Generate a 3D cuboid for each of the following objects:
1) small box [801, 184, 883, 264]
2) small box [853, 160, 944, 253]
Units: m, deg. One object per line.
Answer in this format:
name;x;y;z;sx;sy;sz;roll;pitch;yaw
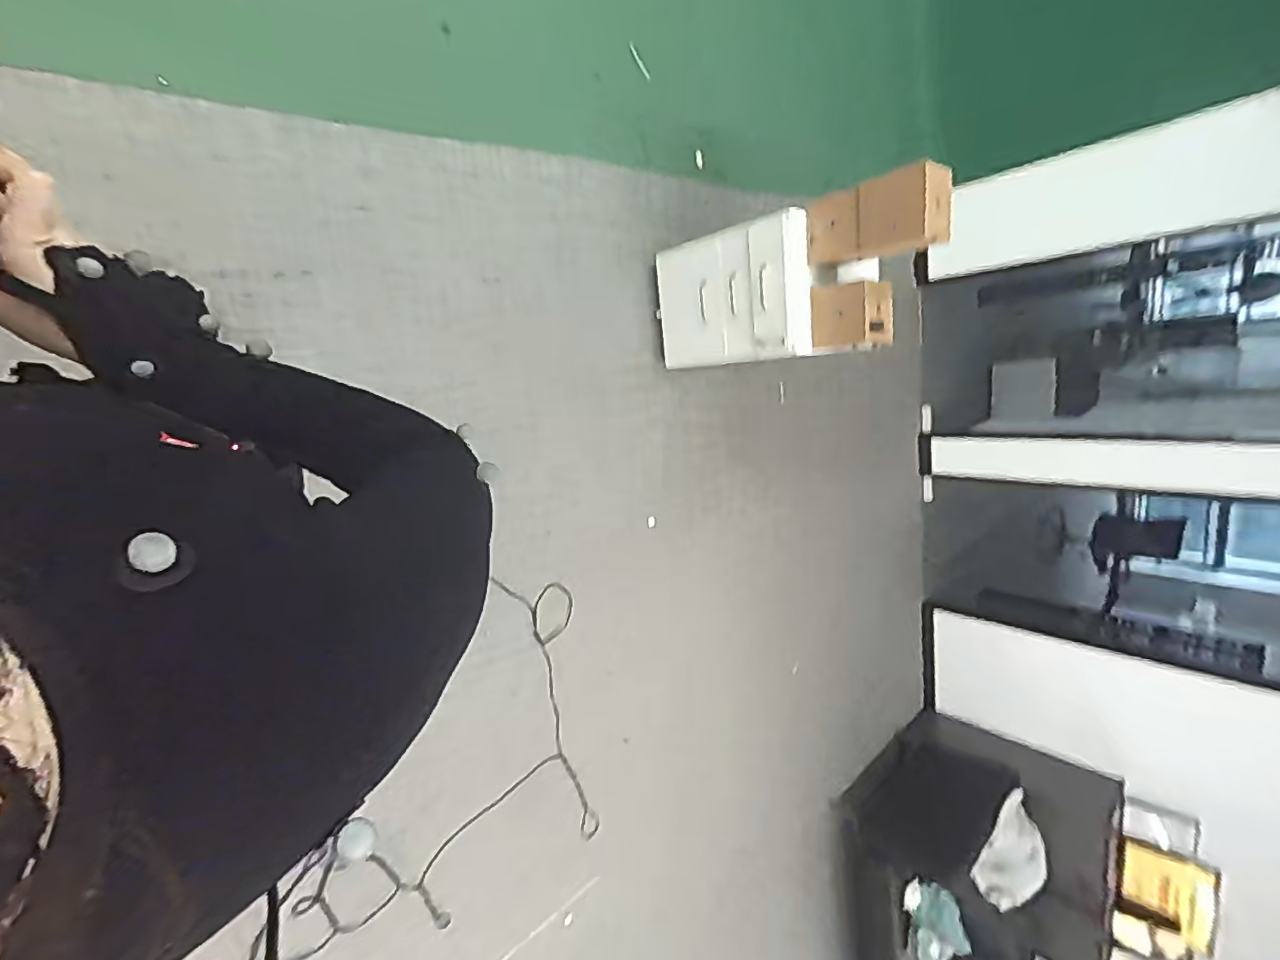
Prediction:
small box;0.575;-0.720;1.539;0.179;0.176;0.168;-15;106;-39
small box;0.670;-0.700;1.408;0.168;0.176;0.179;-17;106;-40
